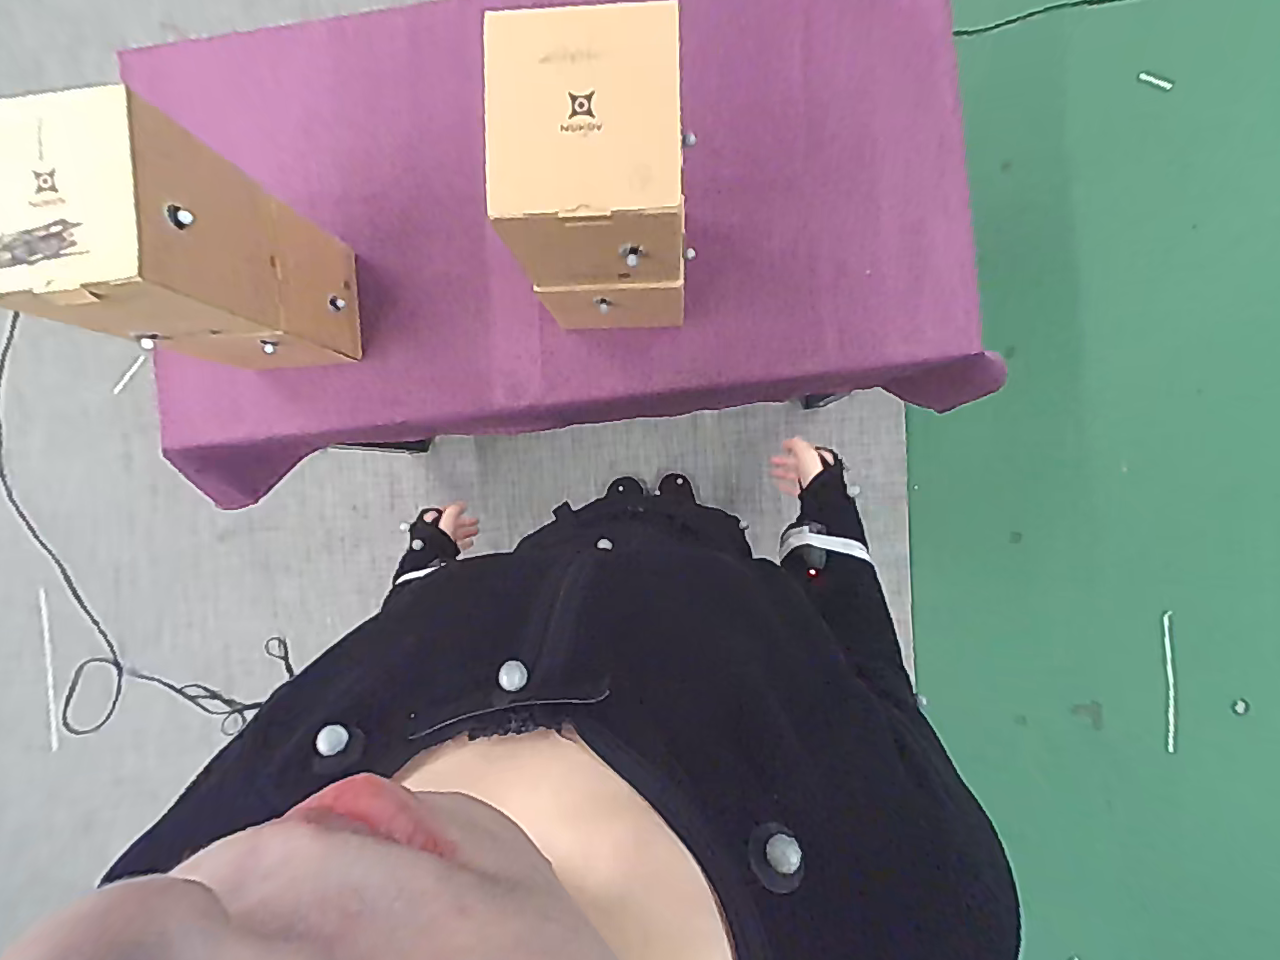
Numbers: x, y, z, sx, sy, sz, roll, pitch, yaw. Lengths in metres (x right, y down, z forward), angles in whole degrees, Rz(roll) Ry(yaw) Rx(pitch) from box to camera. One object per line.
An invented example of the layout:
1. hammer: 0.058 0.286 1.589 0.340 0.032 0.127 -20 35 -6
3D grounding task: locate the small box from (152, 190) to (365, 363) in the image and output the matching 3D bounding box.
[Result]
1. small box: -0.505 -0.260 0.730 0.179 0.176 0.168 -4 90 3

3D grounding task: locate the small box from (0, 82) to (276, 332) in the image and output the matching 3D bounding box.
1. small box: -0.518 -0.263 0.566 0.168 0.176 0.179 -5 89 3

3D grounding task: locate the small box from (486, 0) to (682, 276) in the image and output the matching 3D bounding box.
1. small box: -0.043 -0.311 0.532 0.168 0.176 0.179 0 90 4

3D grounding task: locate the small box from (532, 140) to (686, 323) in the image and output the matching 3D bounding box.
1. small box: -0.031 -0.305 0.695 0.179 0.176 0.168 0 92 4

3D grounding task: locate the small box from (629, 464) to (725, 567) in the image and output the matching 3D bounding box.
1. small box: 0.089 0.093 1.412 0.179 0.176 0.168 -26 59 -28
